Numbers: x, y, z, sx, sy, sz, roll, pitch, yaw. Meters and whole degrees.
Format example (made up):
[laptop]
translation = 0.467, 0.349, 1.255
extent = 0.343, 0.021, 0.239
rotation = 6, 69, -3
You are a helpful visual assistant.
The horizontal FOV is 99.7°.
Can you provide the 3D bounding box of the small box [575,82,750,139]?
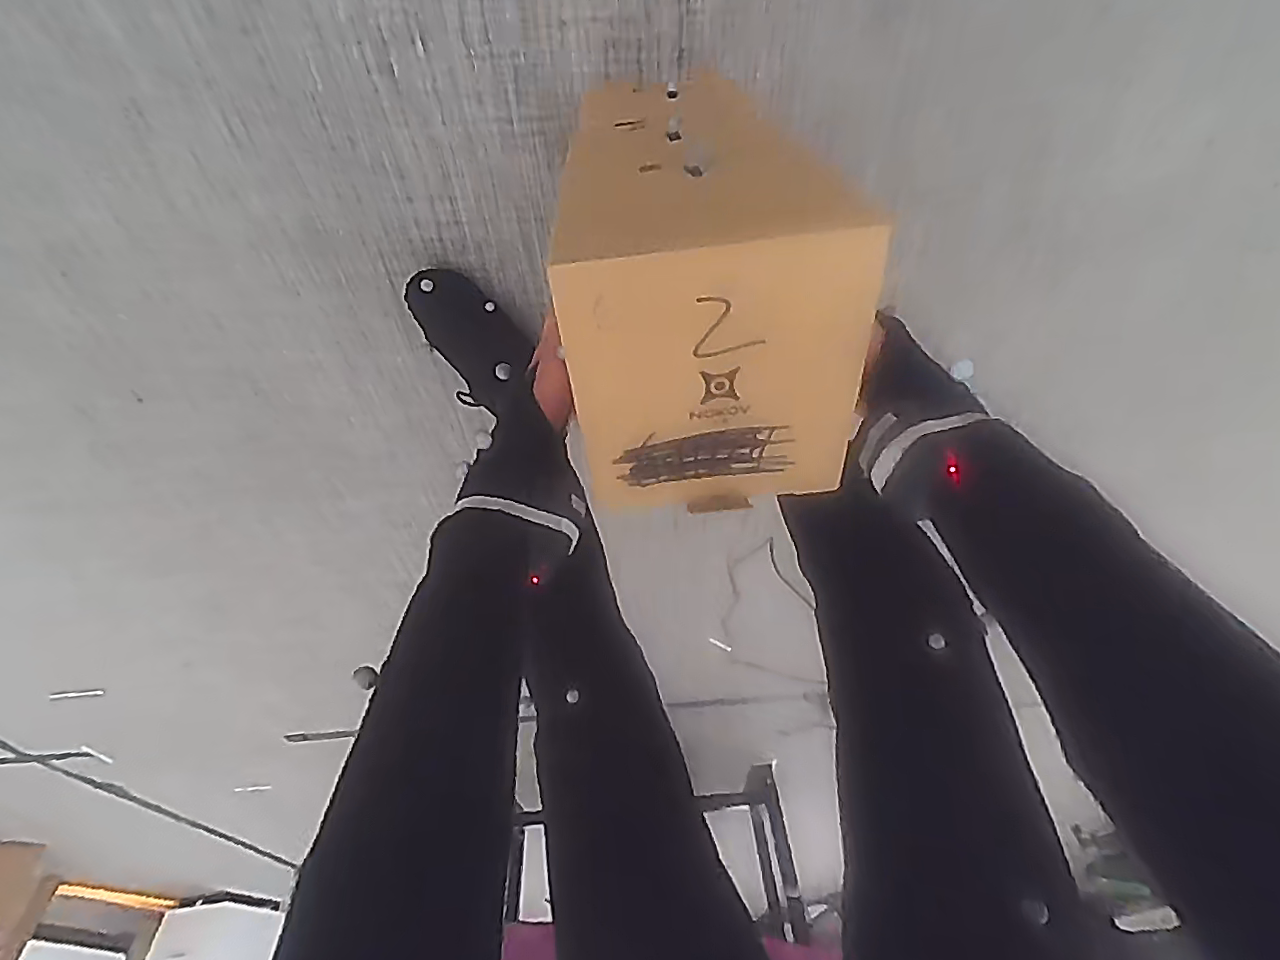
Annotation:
[small box]
translation = 0.022, -0.325, 0.613
extent = 0.168, 0.176, 0.179
rotation = -6, 133, 0
